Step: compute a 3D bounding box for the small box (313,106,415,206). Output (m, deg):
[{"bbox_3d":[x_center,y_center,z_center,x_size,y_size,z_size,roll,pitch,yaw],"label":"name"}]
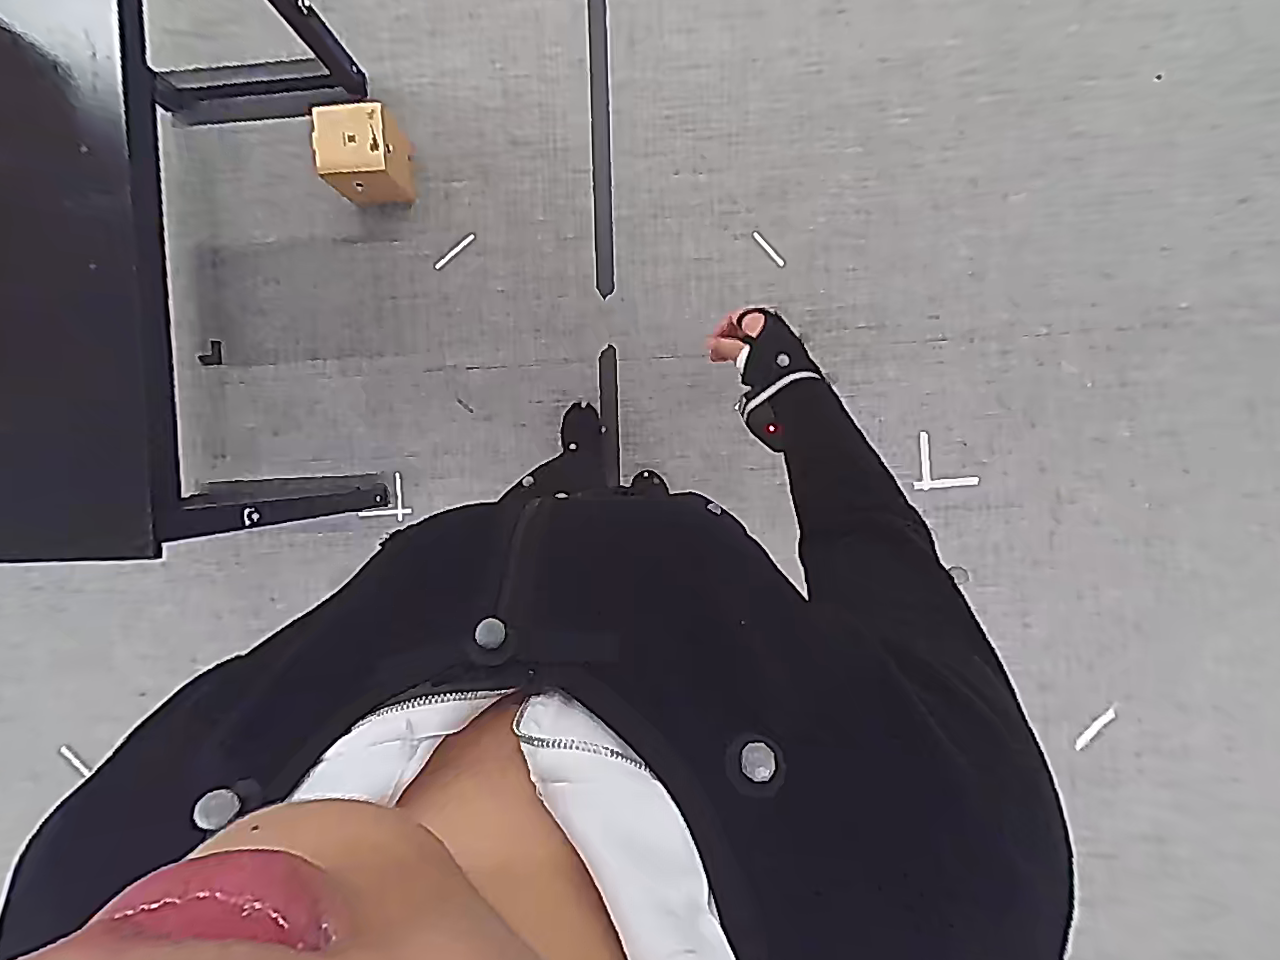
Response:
[{"bbox_3d":[-0.714,-0.837,1.412,0.179,0.176,0.168,-3,93,3],"label":"small box"}]
